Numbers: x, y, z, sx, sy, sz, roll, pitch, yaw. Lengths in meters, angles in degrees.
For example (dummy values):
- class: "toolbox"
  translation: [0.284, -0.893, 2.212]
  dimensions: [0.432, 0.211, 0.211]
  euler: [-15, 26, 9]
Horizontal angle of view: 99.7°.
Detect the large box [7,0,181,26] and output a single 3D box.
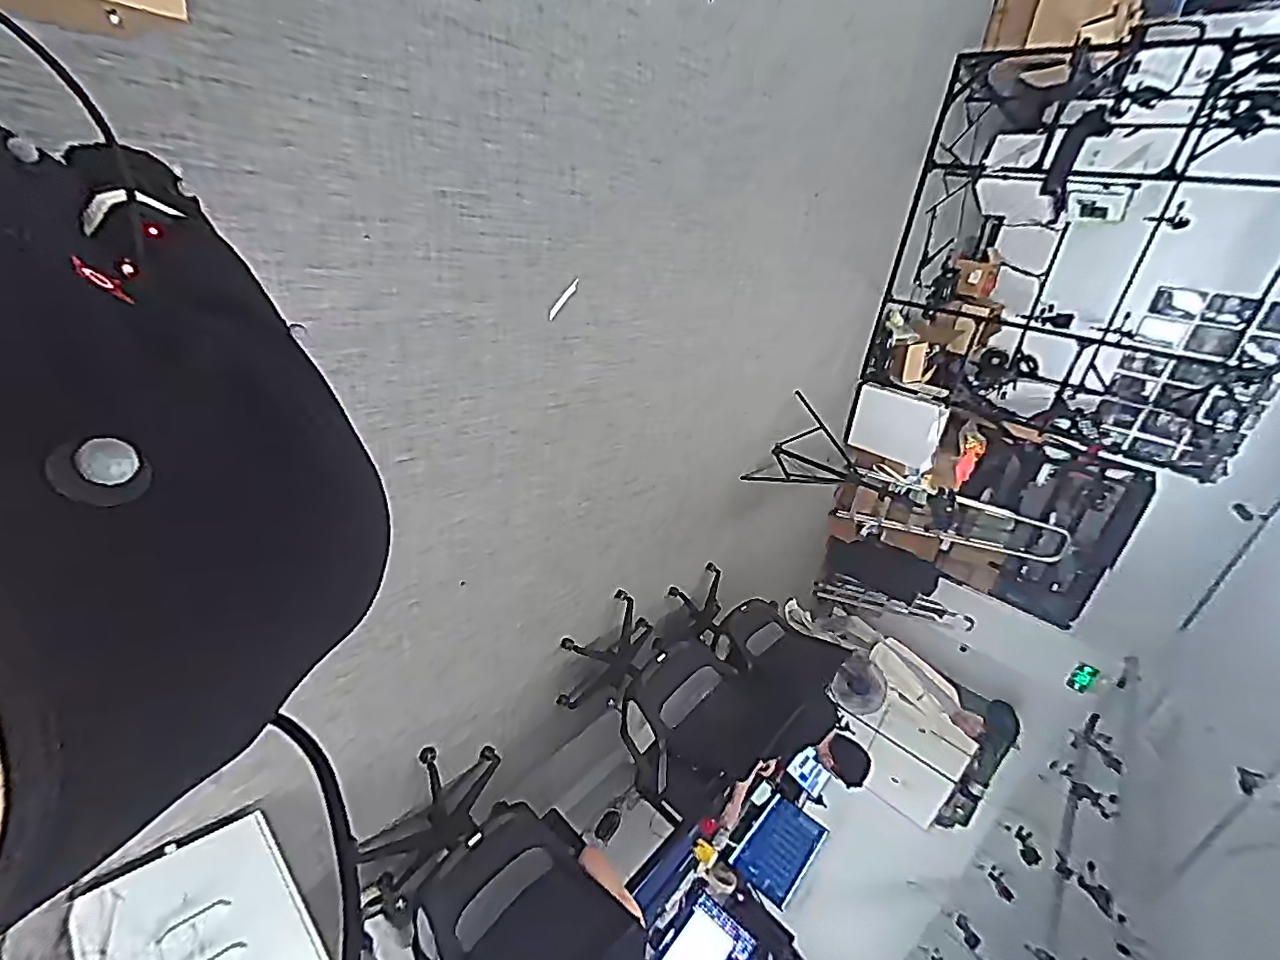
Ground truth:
- class: "large box"
  translation: [-0.841, -0.762, 0.605]
  dimensions: [0.408, 0.320, 0.320]
  euler: [-23, 130, -45]
